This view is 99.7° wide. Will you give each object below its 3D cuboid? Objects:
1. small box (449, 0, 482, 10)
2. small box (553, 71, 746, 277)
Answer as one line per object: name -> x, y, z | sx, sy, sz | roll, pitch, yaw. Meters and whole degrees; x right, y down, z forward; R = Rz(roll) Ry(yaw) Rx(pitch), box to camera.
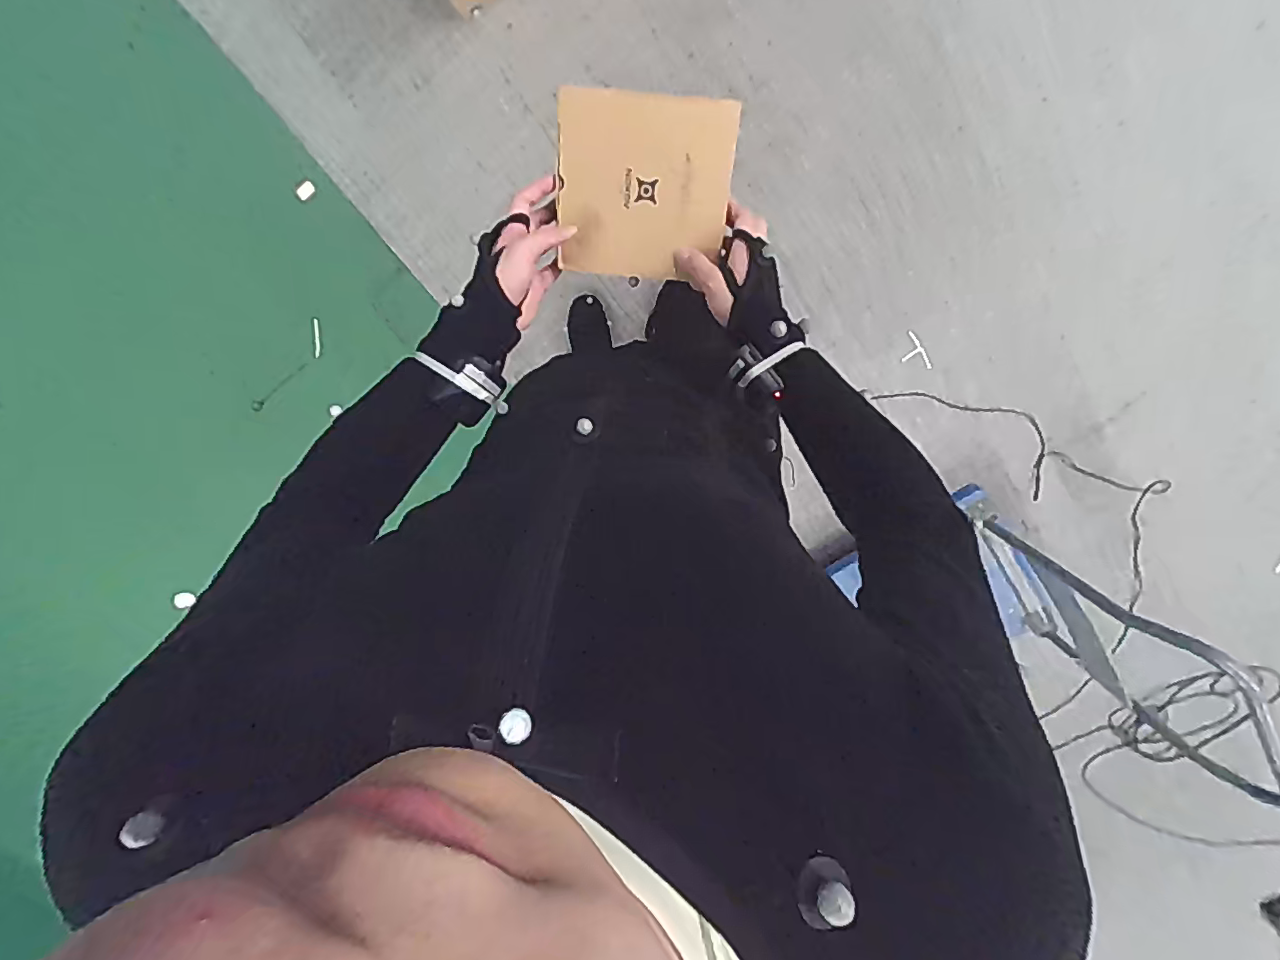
small box -> -0.376, -1.121, 1.111 | 0.168, 0.176, 0.179 | -30, 110, 11
small box -> 0.007, -0.331, 0.607 | 0.179, 0.176, 0.168 | 6, 116, -1
